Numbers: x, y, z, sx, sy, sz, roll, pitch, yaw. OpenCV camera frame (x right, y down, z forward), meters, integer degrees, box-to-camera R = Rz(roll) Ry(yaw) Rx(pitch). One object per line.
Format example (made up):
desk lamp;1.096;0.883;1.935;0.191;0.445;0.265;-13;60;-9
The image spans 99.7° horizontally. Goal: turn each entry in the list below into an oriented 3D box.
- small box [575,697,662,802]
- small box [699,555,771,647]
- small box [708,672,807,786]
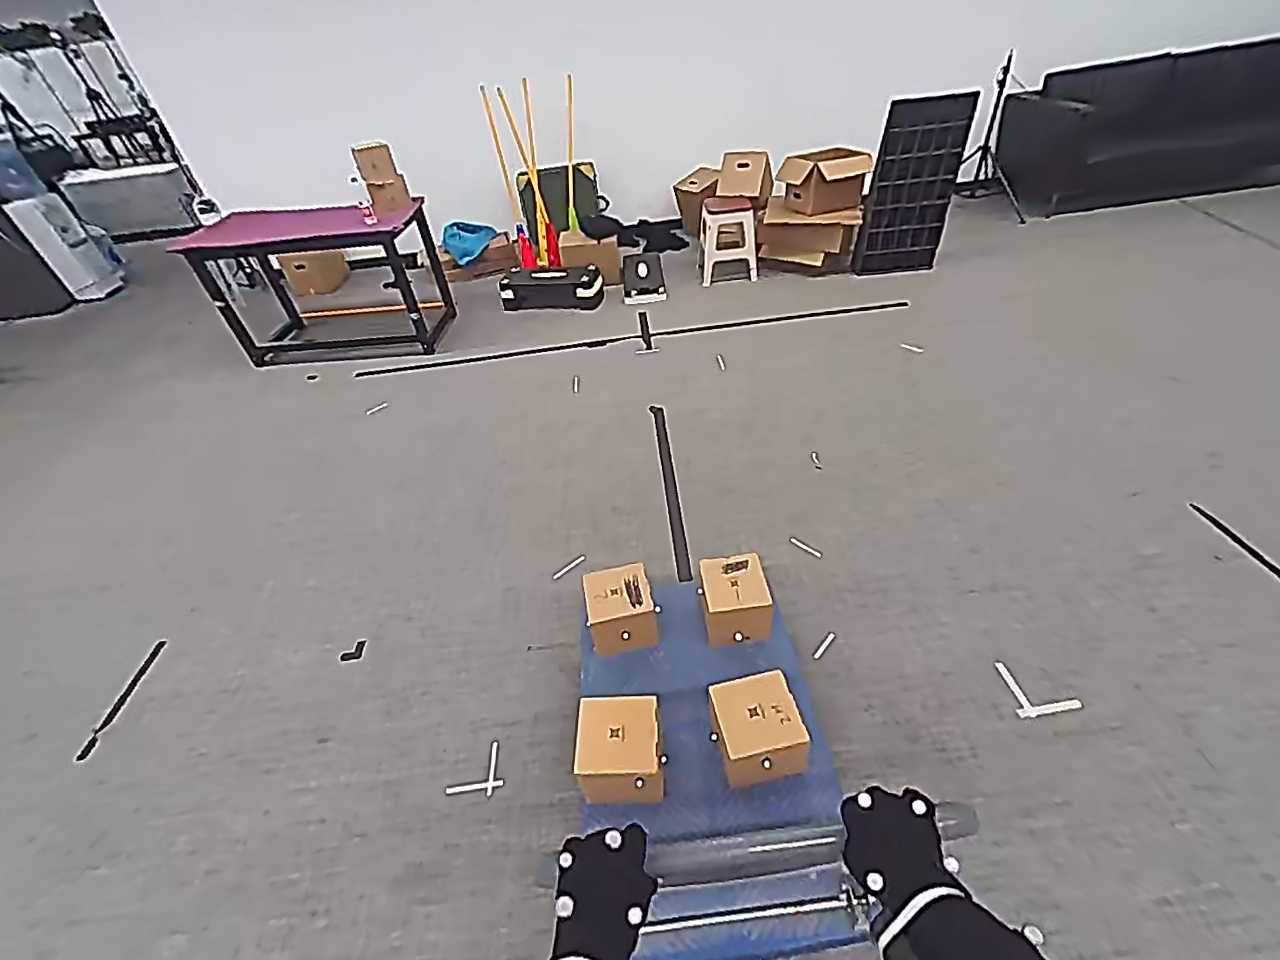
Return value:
small box;-0.043;0.613;1.227;0.179;0.176;0.168;-3;40;3
small box;0.257;0.336;1.498;0.168;0.176;0.179;-8;42;0
small box;0.262;0.569;1.230;0.179;0.176;0.168;-11;41;-4
